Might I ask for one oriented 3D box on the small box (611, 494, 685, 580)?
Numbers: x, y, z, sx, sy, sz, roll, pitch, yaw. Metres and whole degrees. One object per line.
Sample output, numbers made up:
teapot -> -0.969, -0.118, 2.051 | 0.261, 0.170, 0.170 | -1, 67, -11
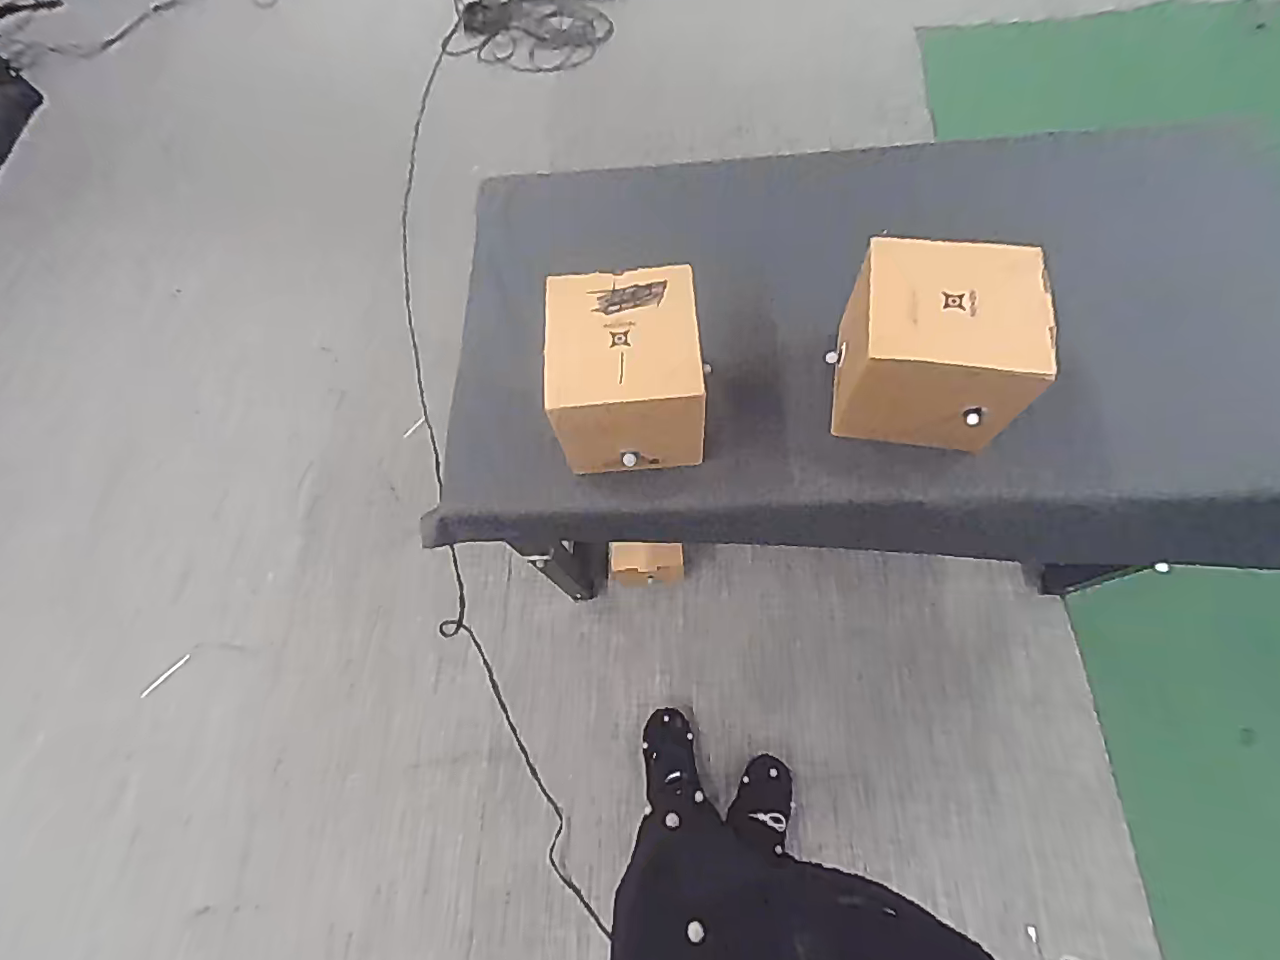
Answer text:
small box -> 0.022, 0.147, 1.331 | 0.168, 0.176, 0.179 | -4, 68, 4

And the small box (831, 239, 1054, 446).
small box -> 0.336, -0.153, 0.636 | 0.179, 0.176, 0.168 | 7, 67, 9

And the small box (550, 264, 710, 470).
small box -> -0.009, -0.128, 0.653 | 0.168, 0.176, 0.179 | -4, 67, 3
